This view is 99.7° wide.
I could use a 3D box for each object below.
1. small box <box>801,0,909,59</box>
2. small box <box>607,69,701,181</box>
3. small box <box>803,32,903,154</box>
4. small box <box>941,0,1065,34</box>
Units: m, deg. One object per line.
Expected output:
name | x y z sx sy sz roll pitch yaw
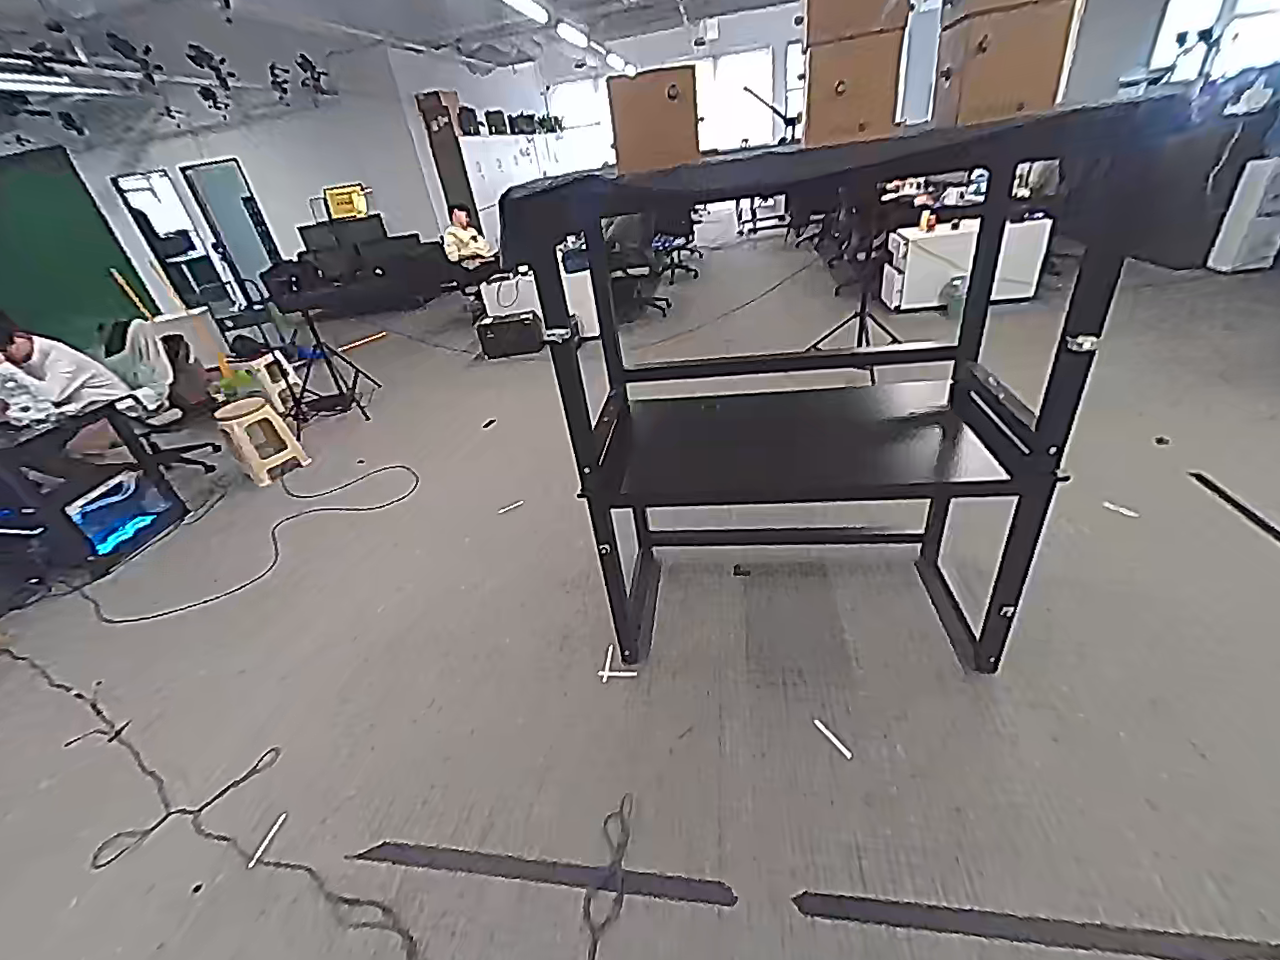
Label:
small box | 0.392 -0.898 0.993 0.179 0.176 0.168 -2 30 14
small box | 0.036 -0.738 1.134 0.179 0.176 0.168 -4 30 7
small box | 0.416 -0.763 1.084 0.168 0.176 0.179 -1 31 13
small box | 0.646 -0.900 0.932 0.179 0.176 0.168 -3 29 12
